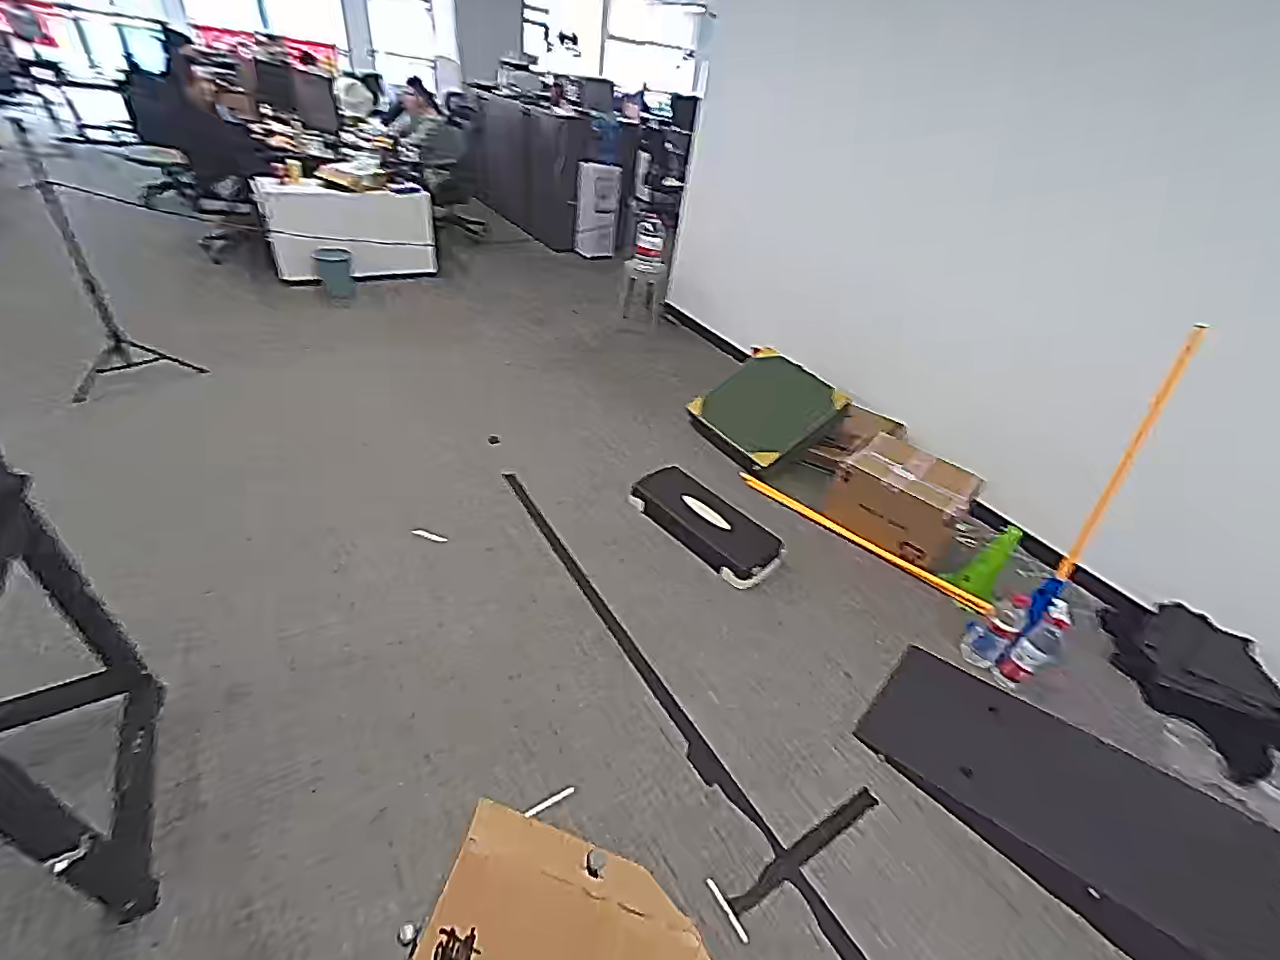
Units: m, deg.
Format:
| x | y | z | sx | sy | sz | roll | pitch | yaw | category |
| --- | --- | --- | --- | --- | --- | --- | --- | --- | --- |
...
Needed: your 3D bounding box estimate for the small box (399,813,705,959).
| x | y | z | sx | sy | sz | roll | pitch | yaw | category |
| --- | --- | --- | --- | --- | --- | --- | --- | --- | --- |
| -0.082 | 0.367 | 0.389 | 0.179 | 0.176 | 0.168 | 25 | 63 | -4 | small box |
